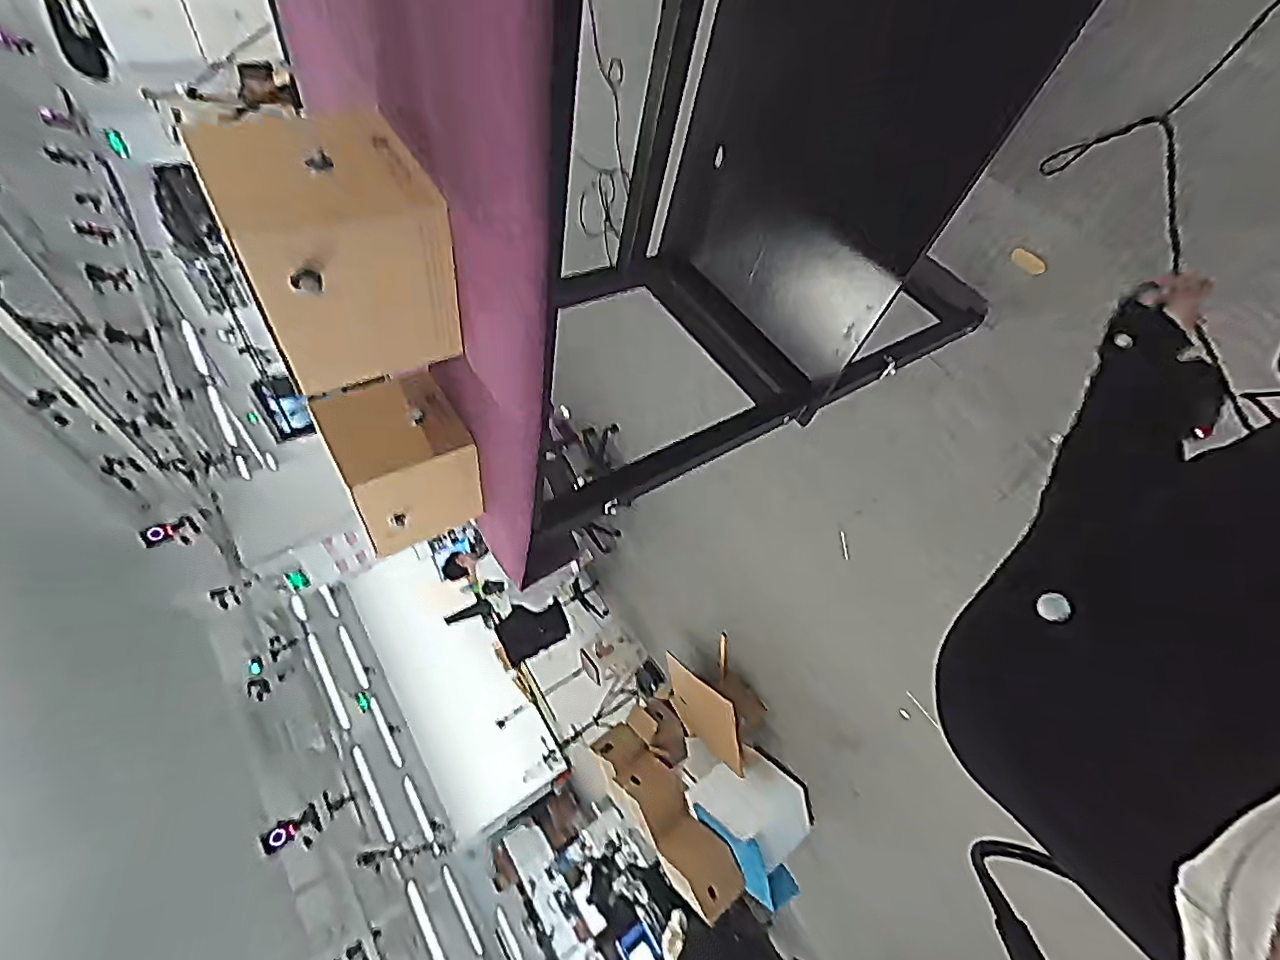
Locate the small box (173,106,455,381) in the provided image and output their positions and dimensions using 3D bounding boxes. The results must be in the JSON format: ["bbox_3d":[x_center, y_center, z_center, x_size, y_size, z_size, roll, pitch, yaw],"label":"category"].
[{"bbox_3d":[-0.295,-0.233,0.526,0.168,0.176,0.179,54,151,22],"label":"small box"}]

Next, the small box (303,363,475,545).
[{"bbox_3d":[-0.352,-0.040,0.790,0.168,0.176,0.179,51,149,25],"label":"small box"}]
